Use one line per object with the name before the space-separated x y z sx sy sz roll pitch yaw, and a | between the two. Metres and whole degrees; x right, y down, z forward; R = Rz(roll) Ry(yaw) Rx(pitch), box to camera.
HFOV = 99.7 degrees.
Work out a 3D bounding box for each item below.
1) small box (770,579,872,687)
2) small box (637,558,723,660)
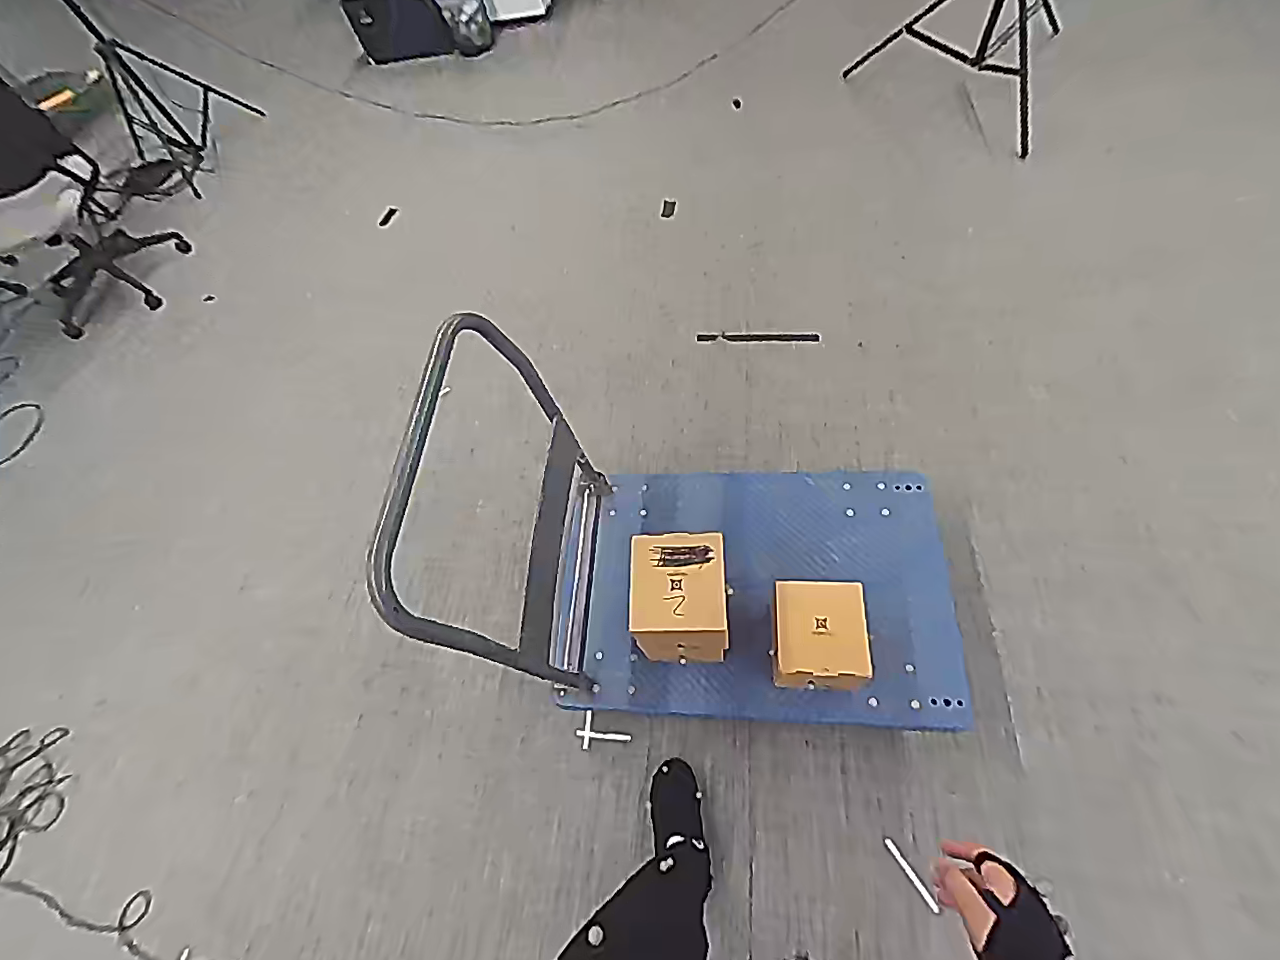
small box | 0.354 0.310 1.091 0.168 0.176 0.179 -1 62 9
small box | 0.090 0.278 1.153 0.168 0.176 0.179 -2 62 9
